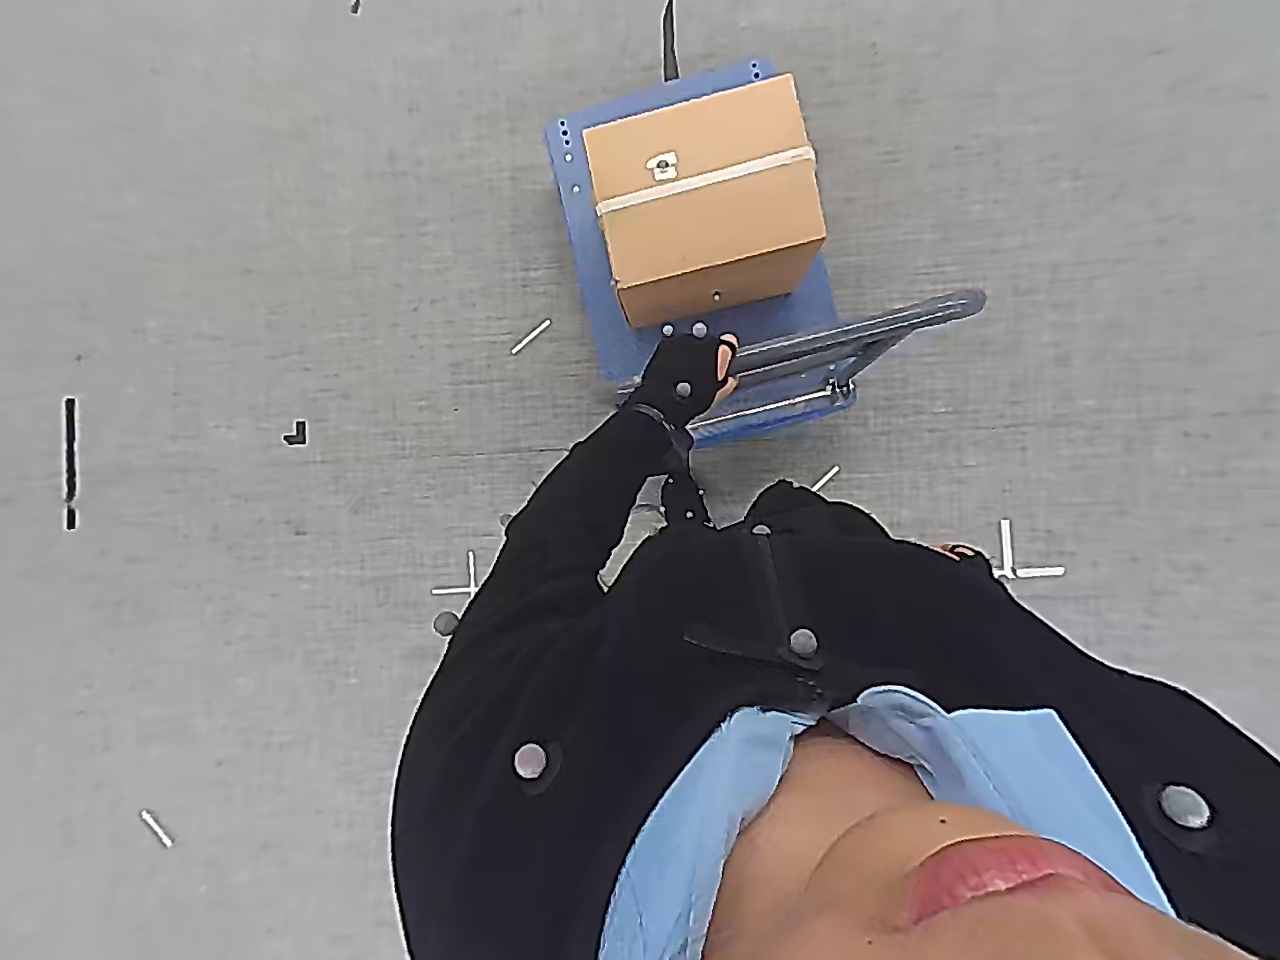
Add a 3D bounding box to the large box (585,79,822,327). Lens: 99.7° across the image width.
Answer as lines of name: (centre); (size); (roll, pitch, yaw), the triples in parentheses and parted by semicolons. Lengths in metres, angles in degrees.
large box: (0.133, -0.562, 1.175); (0.408, 0.320, 0.320); (-12, 89, 6)
